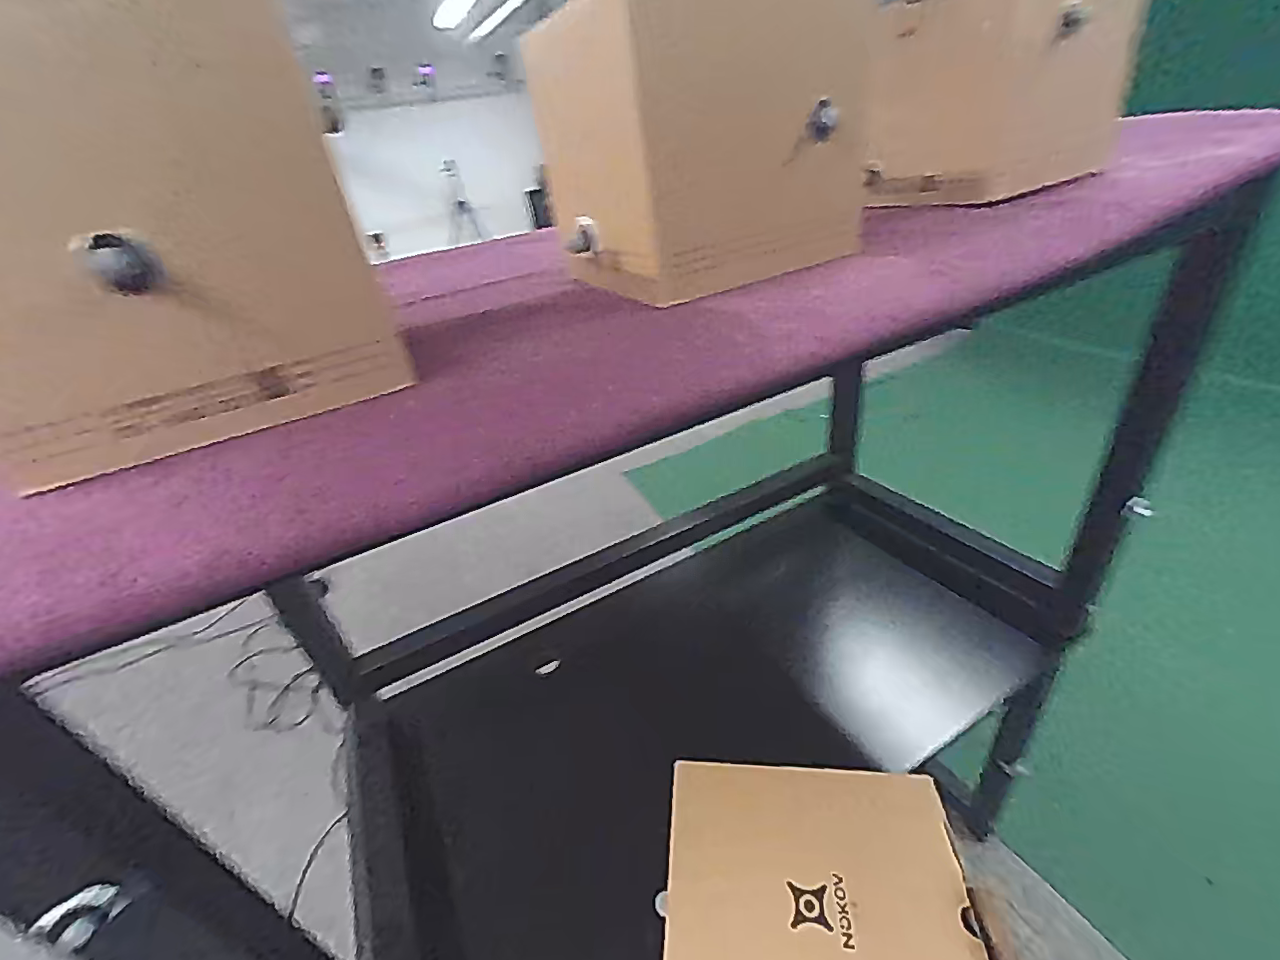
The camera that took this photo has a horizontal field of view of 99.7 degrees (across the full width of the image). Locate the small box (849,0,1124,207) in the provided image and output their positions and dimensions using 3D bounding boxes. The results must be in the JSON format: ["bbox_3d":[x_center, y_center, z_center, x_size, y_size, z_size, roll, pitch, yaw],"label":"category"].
[{"bbox_3d":[0.325,-0.373,0.531,0.179,0.176,0.168,-22,32,-19],"label":"small box"}]

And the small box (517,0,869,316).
[{"bbox_3d":[0.035,-0.235,0.394,0.179,0.176,0.168,-24,35,-21],"label":"small box"}]

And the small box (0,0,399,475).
[{"bbox_3d":[-0.240,-0.120,0.274,0.168,0.176,0.179,-22,35,-22],"label":"small box"}]
